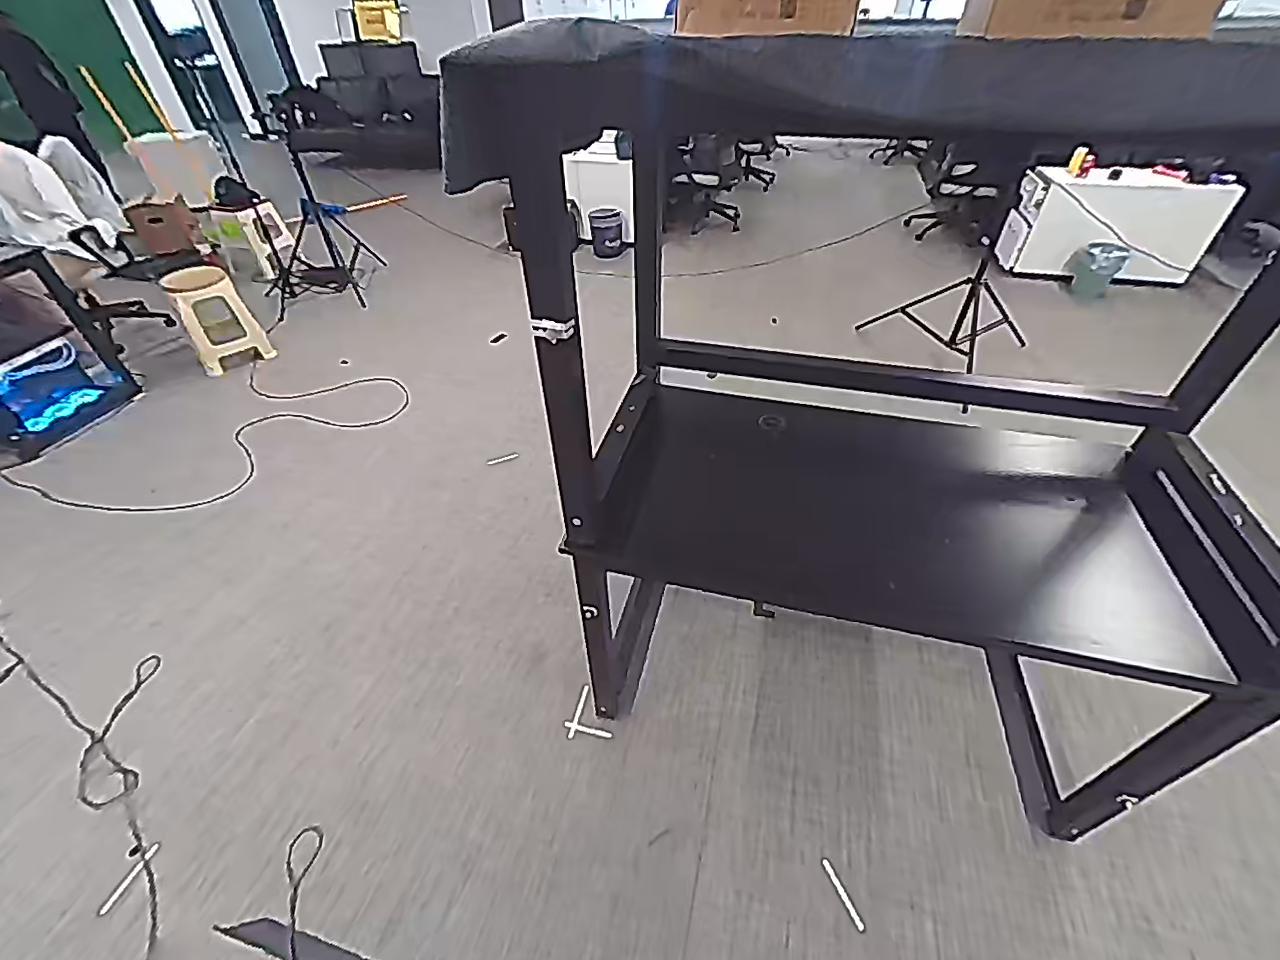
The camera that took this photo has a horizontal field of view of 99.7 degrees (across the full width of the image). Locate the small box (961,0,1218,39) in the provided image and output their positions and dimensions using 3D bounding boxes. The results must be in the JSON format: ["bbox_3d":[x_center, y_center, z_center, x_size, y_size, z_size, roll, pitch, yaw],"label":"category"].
[{"bbox_3d":[0.398,-0.487,0.457,0.168,0.176,0.179,10,41,13],"label":"small box"}]

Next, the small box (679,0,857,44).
[{"bbox_3d":[0.134,-0.529,0.512,0.168,0.176,0.179,10,41,10],"label":"small box"}]
